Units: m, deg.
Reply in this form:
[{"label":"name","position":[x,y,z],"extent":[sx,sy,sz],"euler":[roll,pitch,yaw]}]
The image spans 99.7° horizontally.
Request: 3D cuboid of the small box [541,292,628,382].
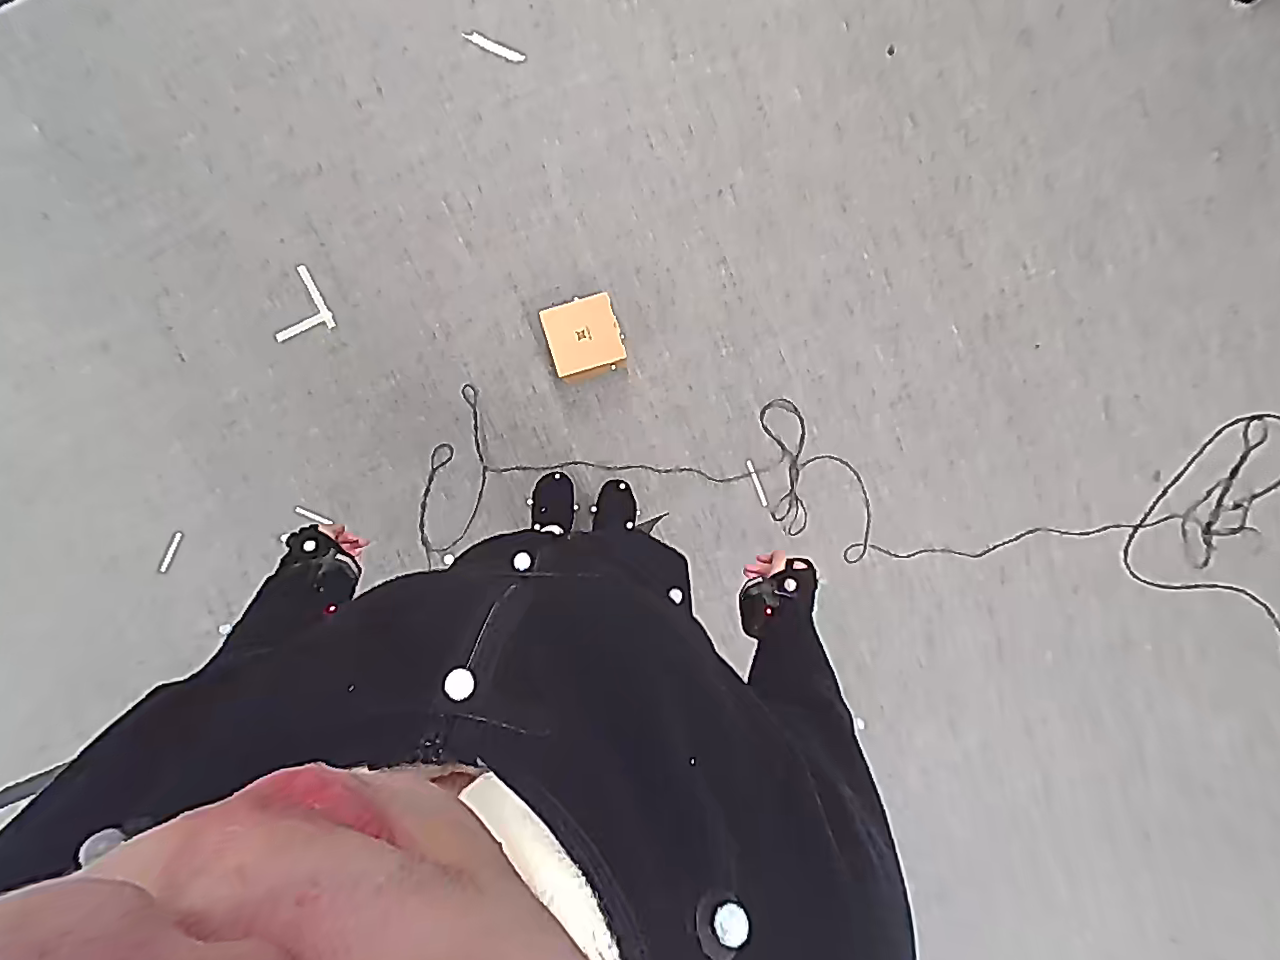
[{"label":"small box","position":[-0.135,-0.356,1.383],"extent":[0.179,0.176,0.168],"euler":[-17,95,-1]}]
